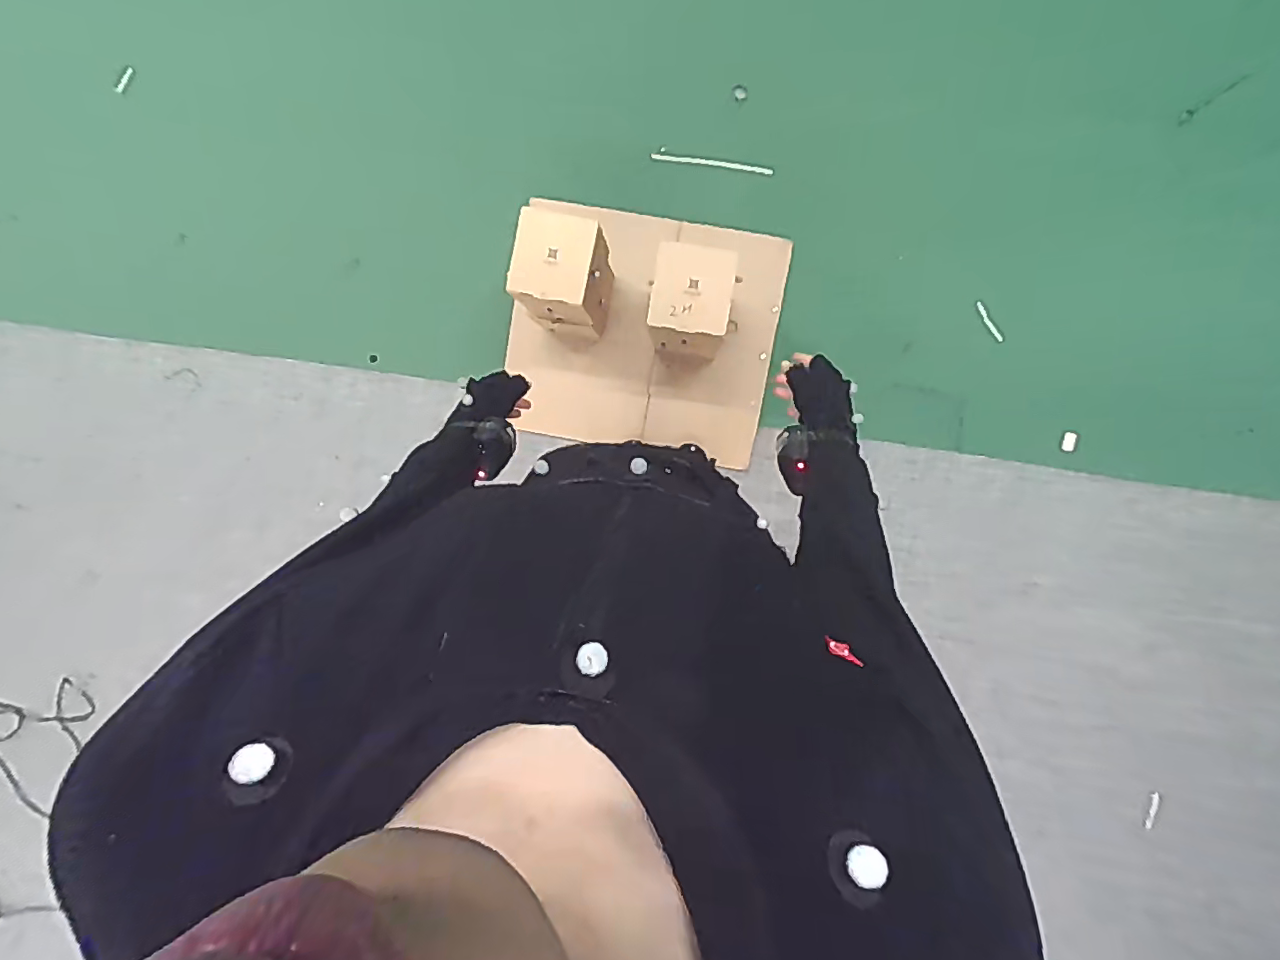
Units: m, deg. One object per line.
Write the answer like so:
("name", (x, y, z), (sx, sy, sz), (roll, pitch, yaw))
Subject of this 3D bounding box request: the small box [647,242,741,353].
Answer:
("small box", (0.113, -0.387, 1.170), (0.168, 0.176, 0.179), (10, 94, 3))

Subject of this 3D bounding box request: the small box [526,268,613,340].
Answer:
("small box", (-0.169, -0.459, 1.347), (0.168, 0.176, 0.179), (12, 94, 3))

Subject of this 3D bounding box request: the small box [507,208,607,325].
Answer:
("small box", (-0.173, -0.458, 1.184), (0.168, 0.176, 0.179), (13, 95, 3))
